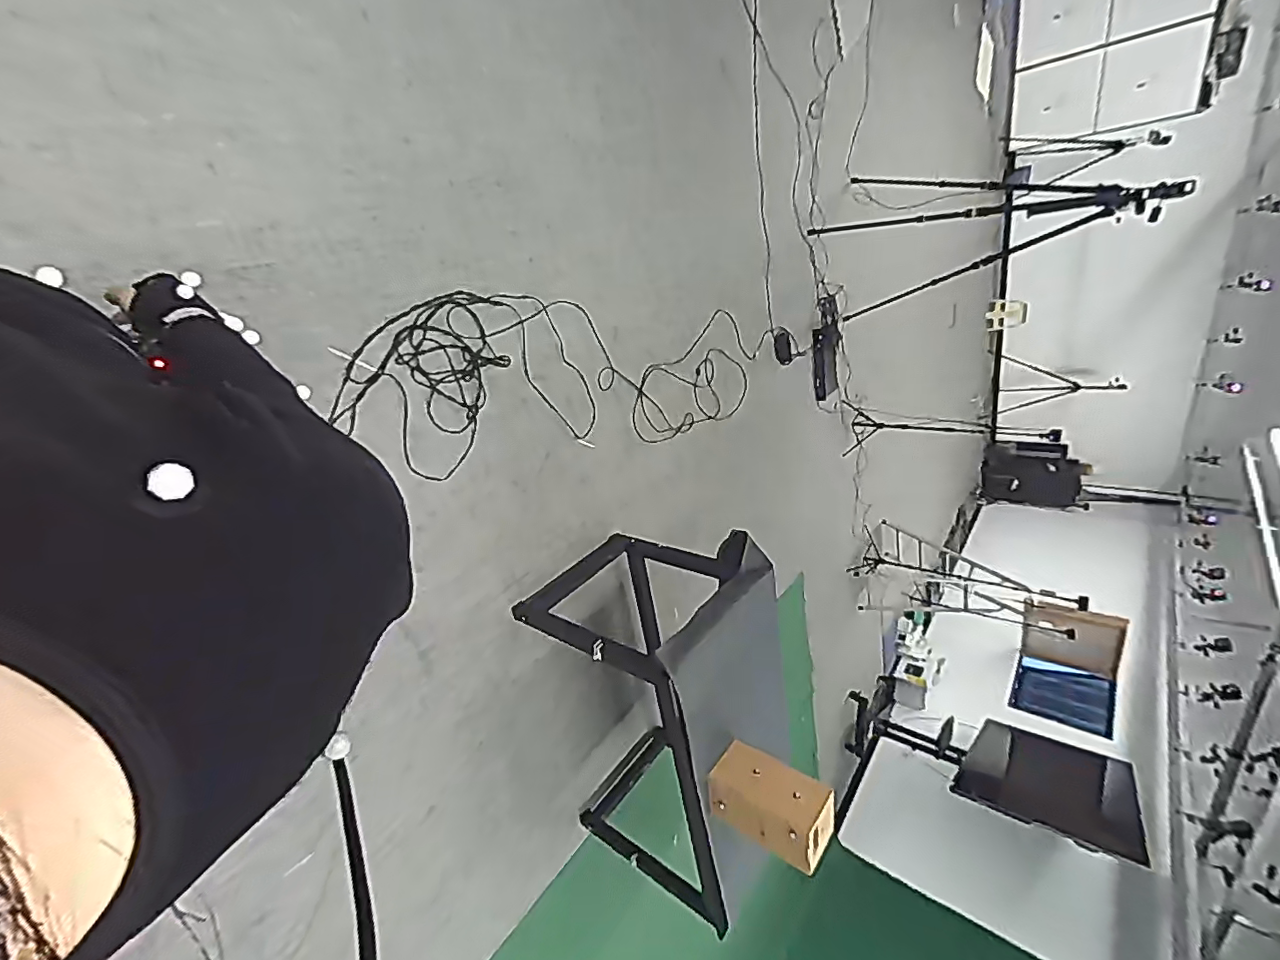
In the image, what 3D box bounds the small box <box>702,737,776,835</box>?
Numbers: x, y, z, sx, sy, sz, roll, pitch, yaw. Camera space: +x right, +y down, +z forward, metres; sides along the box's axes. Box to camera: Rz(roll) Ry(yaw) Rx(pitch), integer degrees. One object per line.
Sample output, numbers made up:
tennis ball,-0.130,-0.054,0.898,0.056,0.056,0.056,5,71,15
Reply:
small box,0.314,0.956,1.708,0.179,0.176,0.168,-28,118,-44
